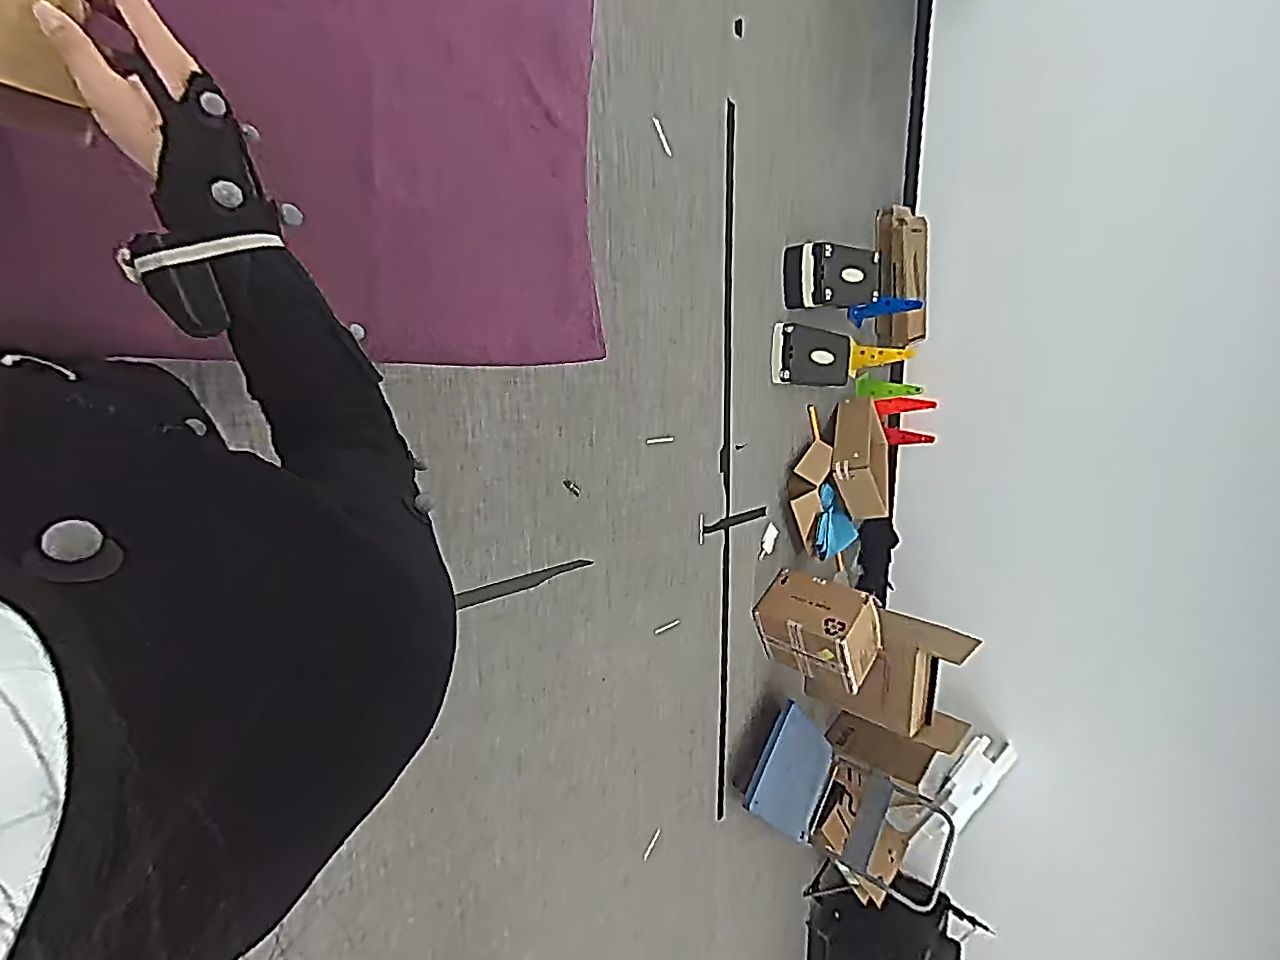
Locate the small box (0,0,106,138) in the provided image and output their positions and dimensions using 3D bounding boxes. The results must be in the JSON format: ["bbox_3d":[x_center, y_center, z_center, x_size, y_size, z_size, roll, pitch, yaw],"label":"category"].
[{"bbox_3d":[-0.426,-0.329,0.306,0.168,0.176,0.179,-3,108,-46],"label":"small box"}]
